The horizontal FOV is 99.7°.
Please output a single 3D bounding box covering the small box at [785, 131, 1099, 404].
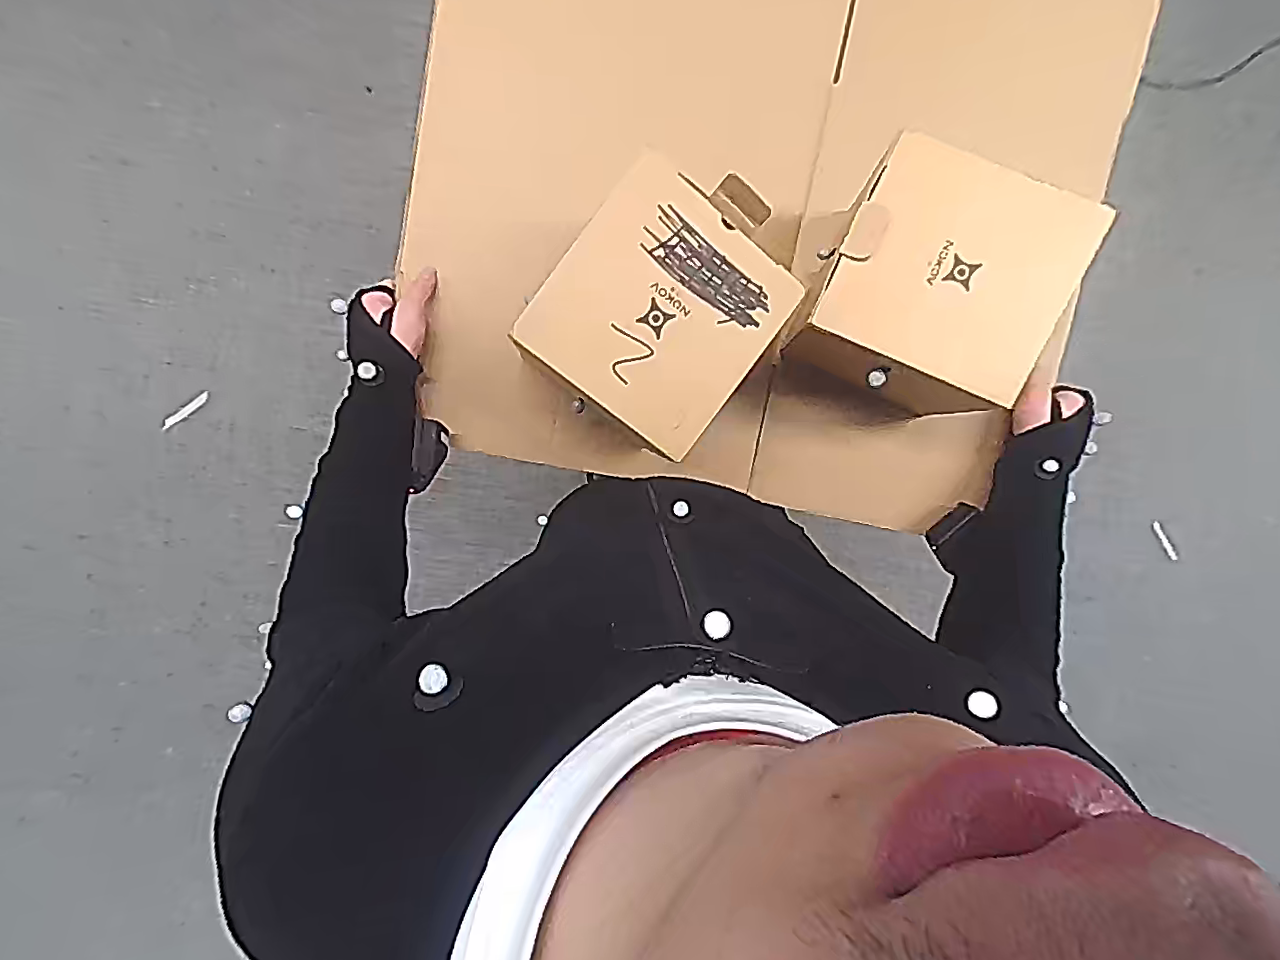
[{"bbox_3d":[0.260,-0.181,0.518,0.179,0.176,0.168,25,98,5],"label":"small box"}]
